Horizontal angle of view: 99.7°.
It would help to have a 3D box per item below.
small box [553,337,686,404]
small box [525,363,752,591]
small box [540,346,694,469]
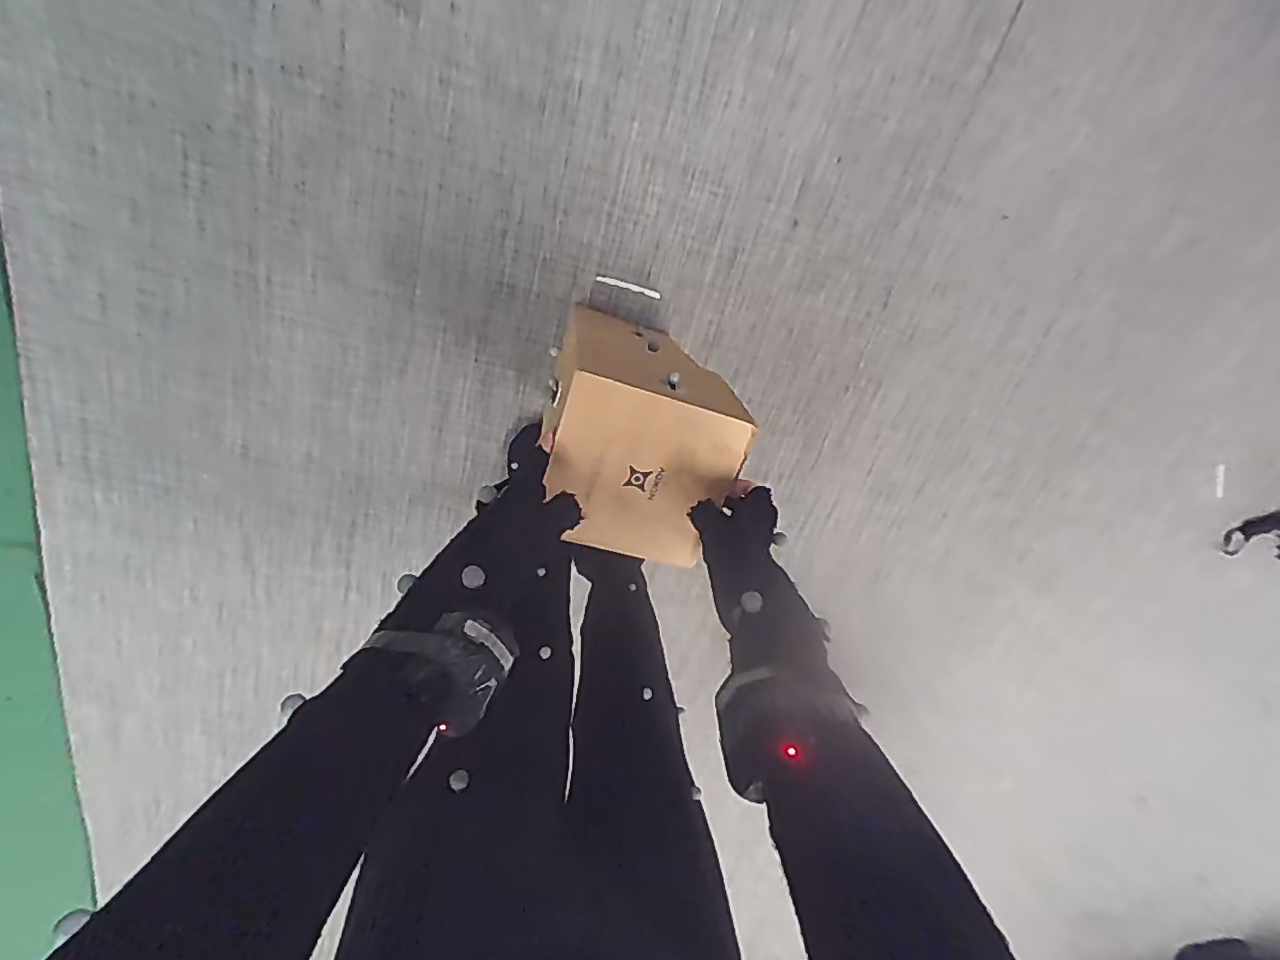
[{"bbox_3d":[-0.045,-0.126,0.883,0.179,0.176,0.168,12,111,-13],"label":"small box"},{"bbox_3d":[-0.010,-0.011,0.575,0.179,0.176,0.168,15,113,-12],"label":"small box"},{"bbox_3d":[-0.029,-0.070,0.730,0.179,0.176,0.168,15,110,-14],"label":"small box"}]
